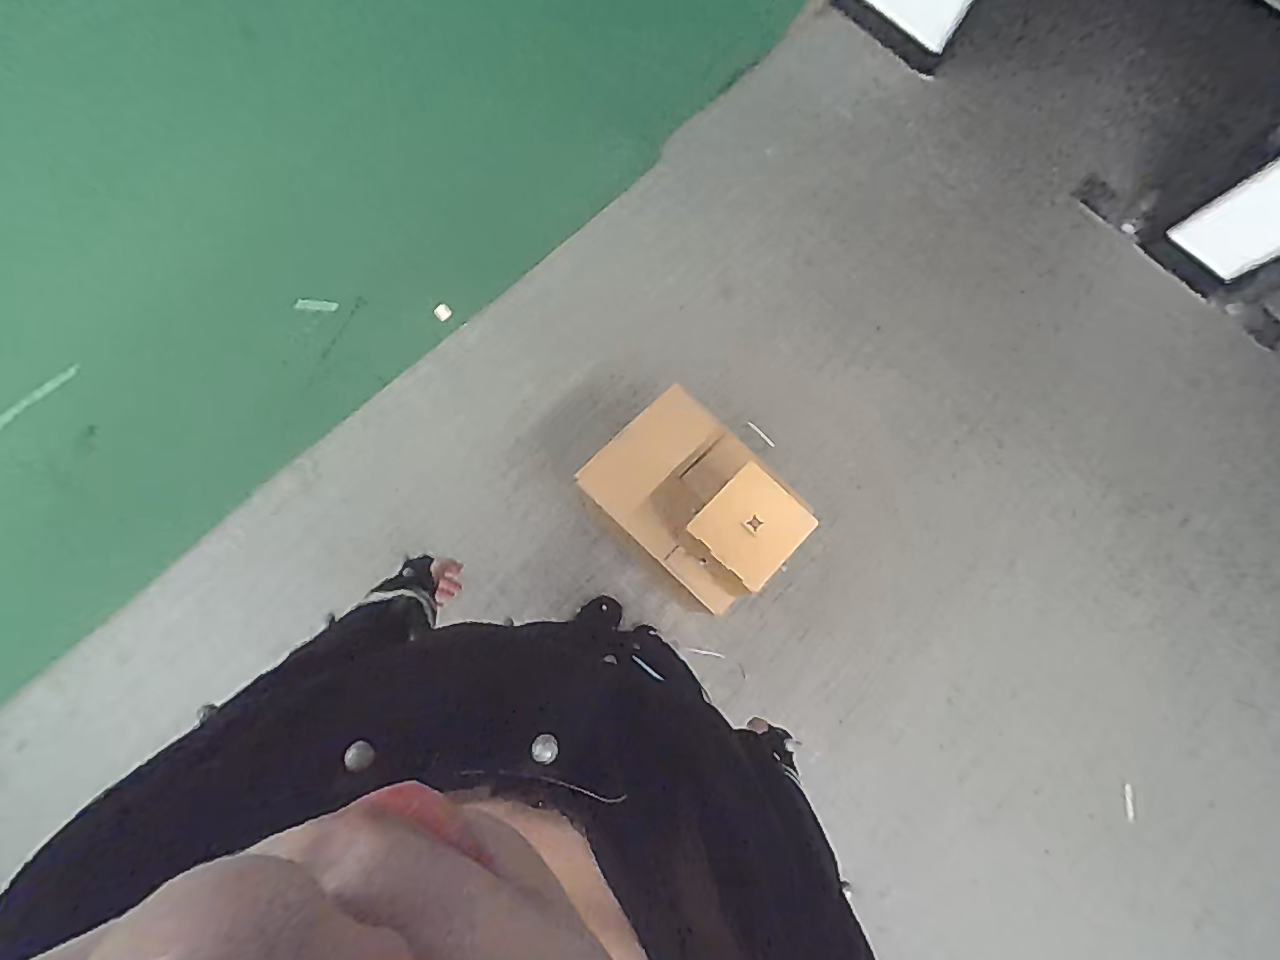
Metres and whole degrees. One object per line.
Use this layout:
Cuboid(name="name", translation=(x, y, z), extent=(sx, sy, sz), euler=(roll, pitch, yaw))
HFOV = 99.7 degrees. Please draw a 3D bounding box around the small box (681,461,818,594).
Cuboid(name="small box", translation=(0.194, 0.095, 1.019), extent=(0.168, 0.176, 0.179), euler=(44, 80, 7))
